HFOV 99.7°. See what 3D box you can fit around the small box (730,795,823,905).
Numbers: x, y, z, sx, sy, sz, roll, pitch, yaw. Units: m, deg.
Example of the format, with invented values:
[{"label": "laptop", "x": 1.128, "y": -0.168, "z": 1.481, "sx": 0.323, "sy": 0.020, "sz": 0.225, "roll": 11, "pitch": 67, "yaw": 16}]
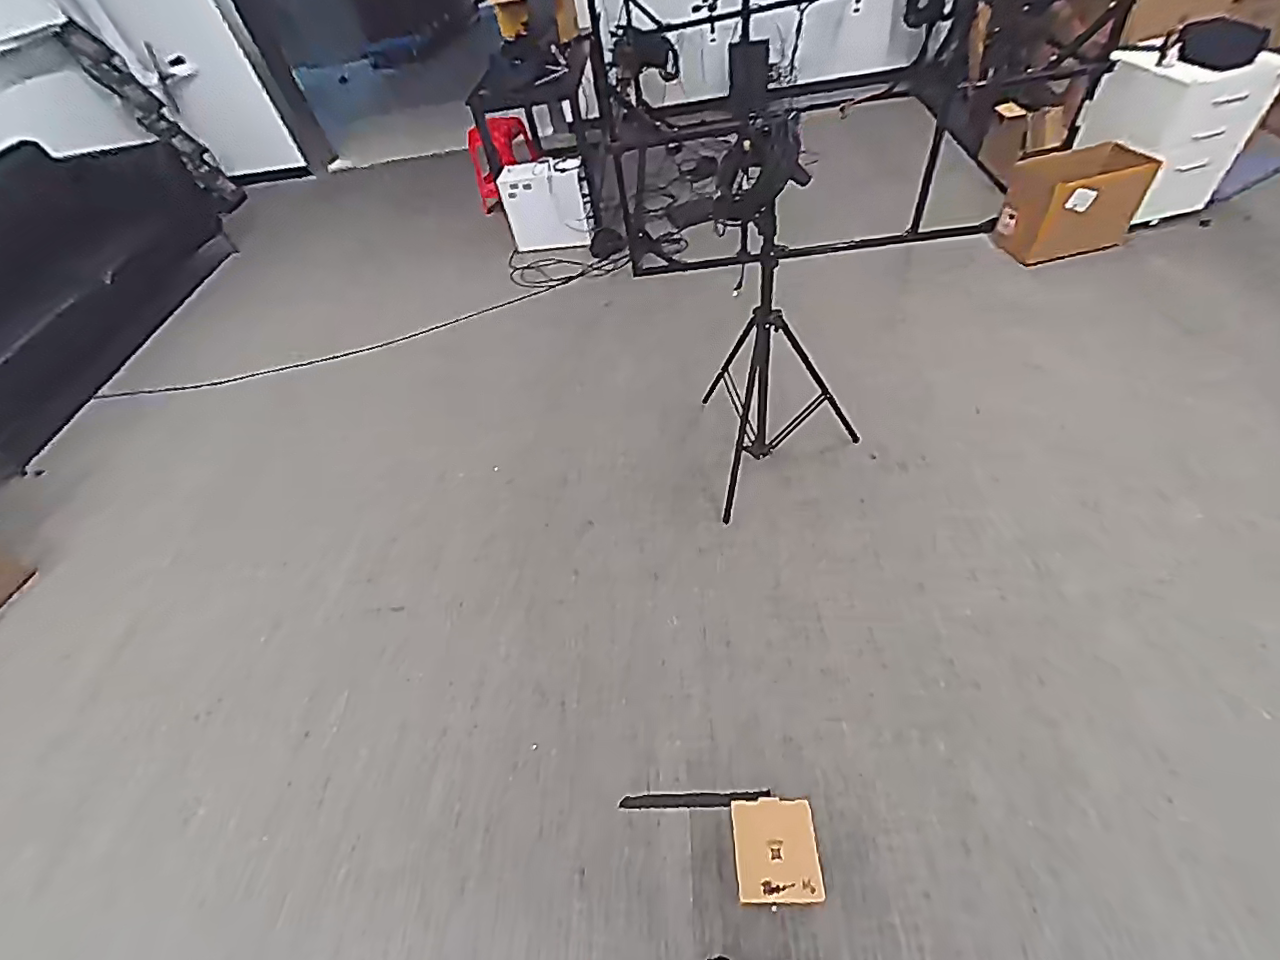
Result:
[{"label": "small box", "x": 0.282, "y": 0.794, "z": 1.160, "sx": 0.168, "sy": 0.176, "sz": 0.179, "roll": -5, "pitch": 49, "yaw": 6}]
